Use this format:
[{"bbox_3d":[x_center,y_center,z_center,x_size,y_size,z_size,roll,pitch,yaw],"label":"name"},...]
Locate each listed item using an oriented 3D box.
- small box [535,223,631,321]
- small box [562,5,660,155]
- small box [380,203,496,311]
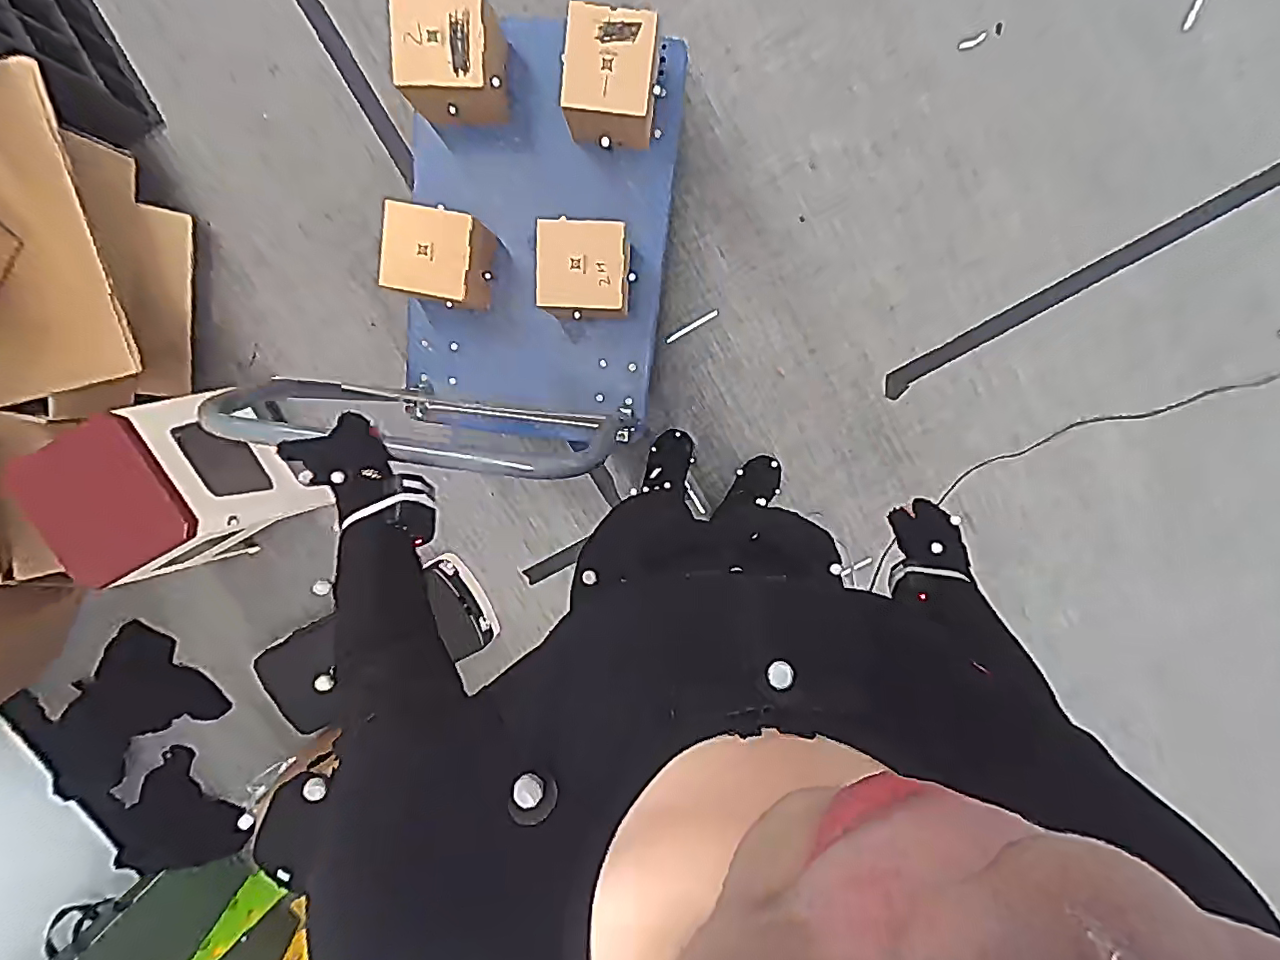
[{"bbox_3d":[-0.115,-0.432,1.144,0.179,0.176,0.168,3,101,2],"label":"small box"},{"bbox_3d":[-0.053,-0.782,1.074,0.168,0.176,0.179,8,102,1],"label":"small box"},{"bbox_3d":[-0.423,-0.463,1.150,0.179,0.176,0.168,10,101,-2],"label":"small box"}]
